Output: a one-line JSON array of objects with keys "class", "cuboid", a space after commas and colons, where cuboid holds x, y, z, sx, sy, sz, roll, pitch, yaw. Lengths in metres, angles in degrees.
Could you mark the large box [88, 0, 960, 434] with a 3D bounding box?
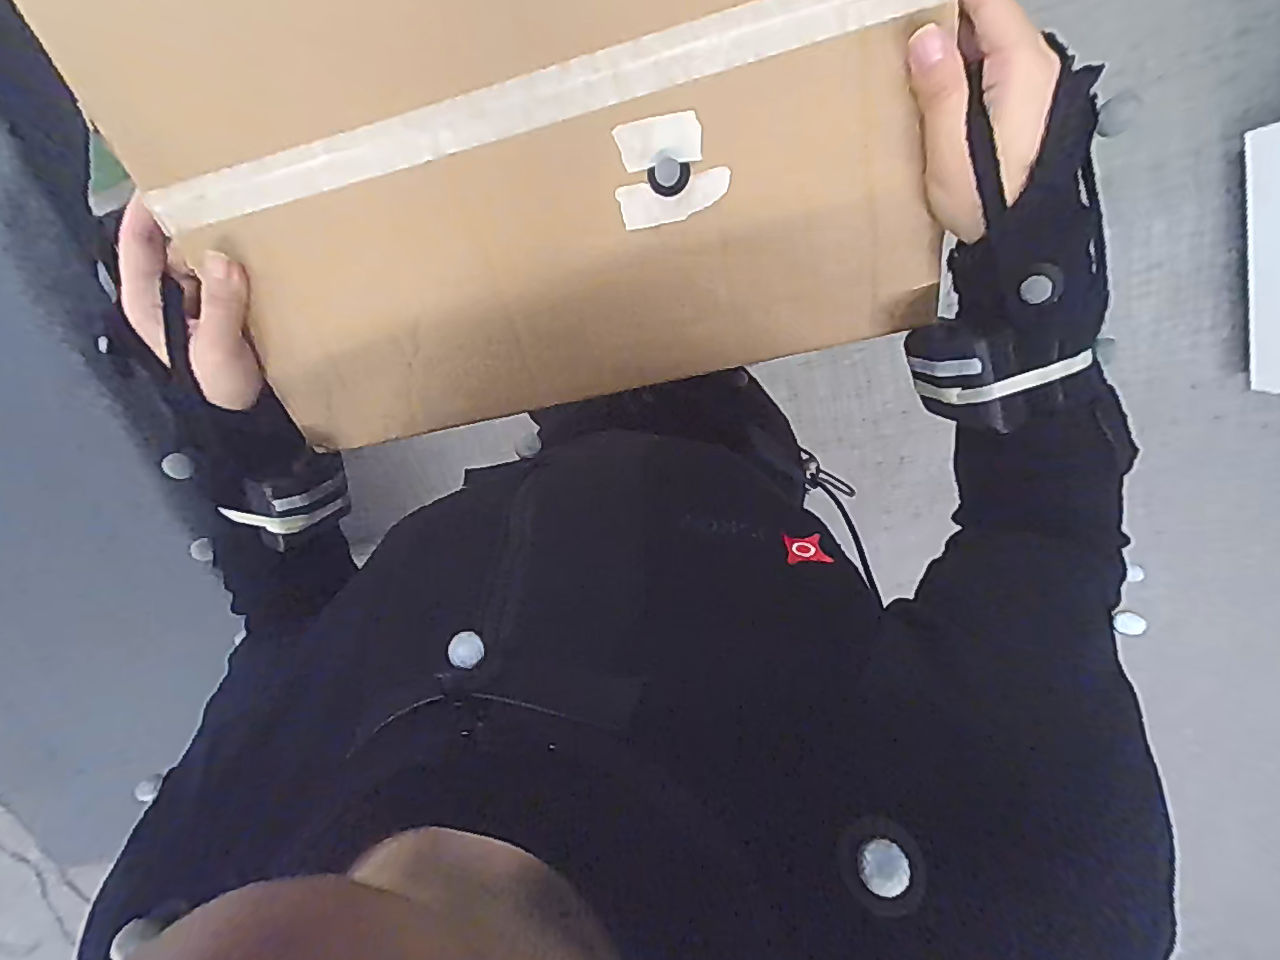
[{"class": "large box", "cuboid": [-0.047, -0.274, 0.396, 0.408, 0.320, 0.320, -11, 123, 7]}]
